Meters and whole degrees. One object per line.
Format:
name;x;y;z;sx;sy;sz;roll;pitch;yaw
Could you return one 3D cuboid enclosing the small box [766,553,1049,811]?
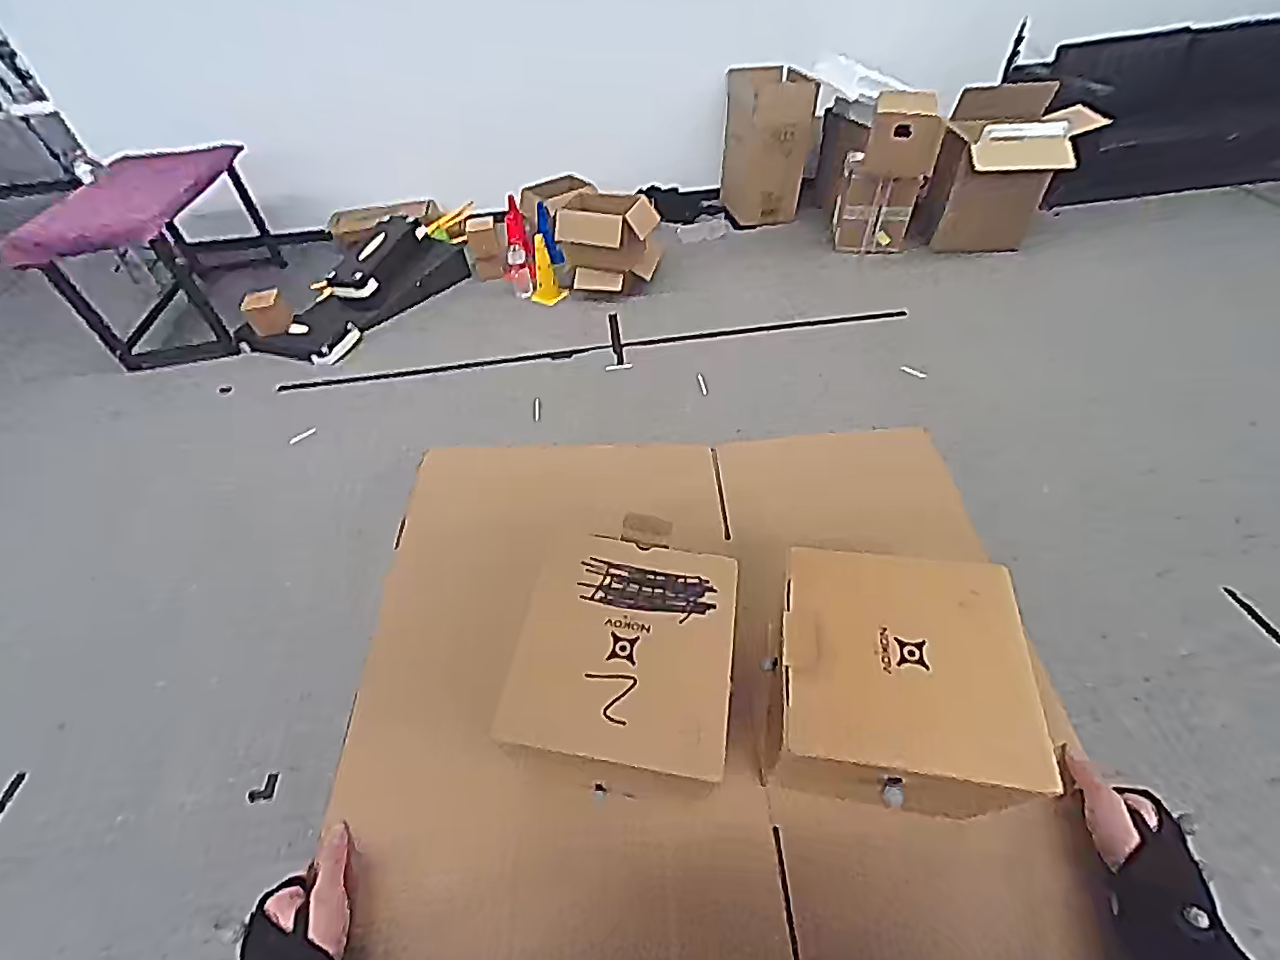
small box;0.211;0.184;0.484;0.179;0.176;0.168;4;54;11
